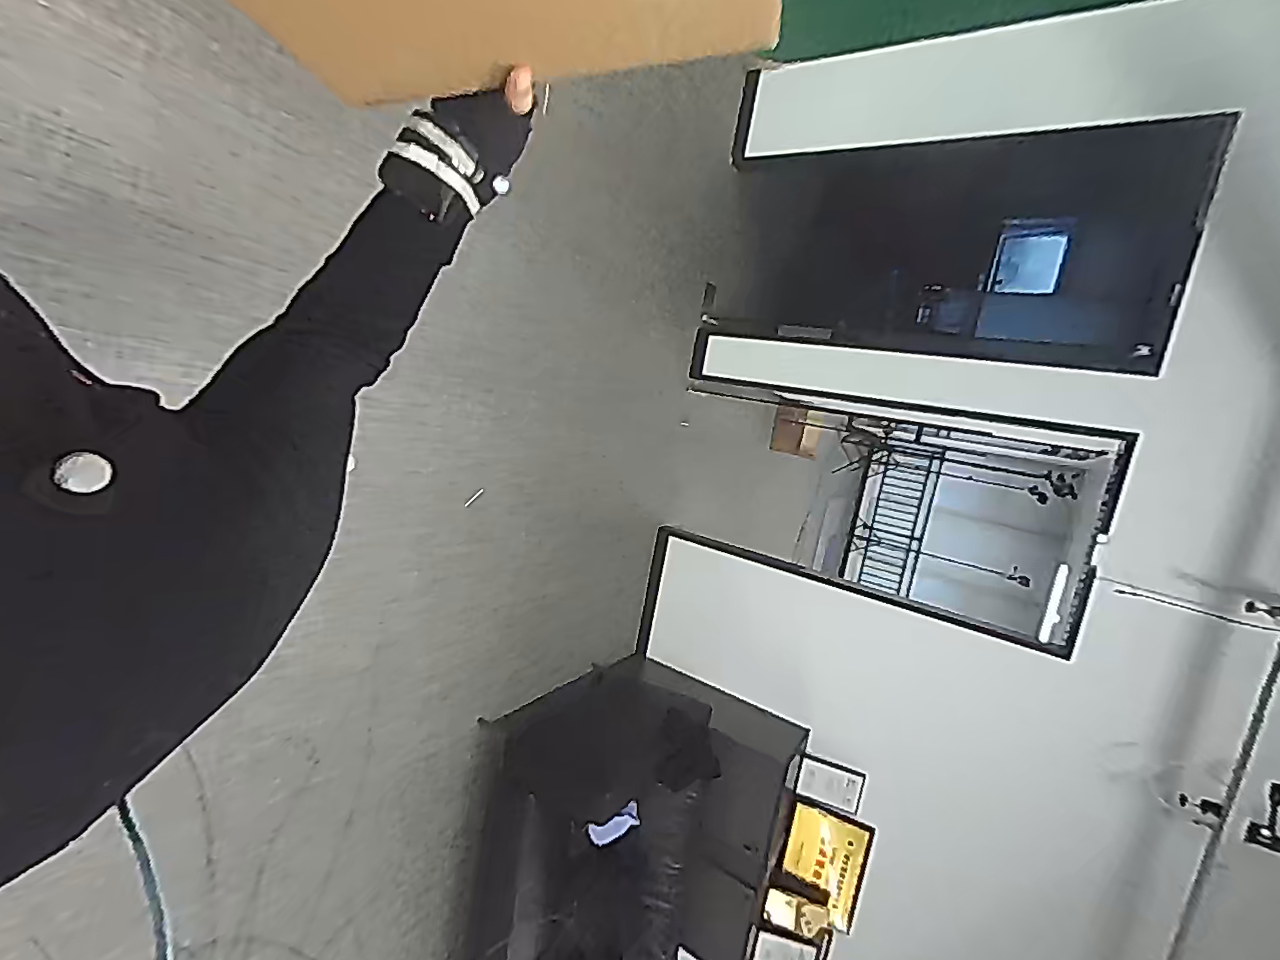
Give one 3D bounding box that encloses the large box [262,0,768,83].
[{"bbox_3d":[-0.105,-0.430,0.173,0.408,0.320,0.320,-19,108,-80],"label":"large box"}]
